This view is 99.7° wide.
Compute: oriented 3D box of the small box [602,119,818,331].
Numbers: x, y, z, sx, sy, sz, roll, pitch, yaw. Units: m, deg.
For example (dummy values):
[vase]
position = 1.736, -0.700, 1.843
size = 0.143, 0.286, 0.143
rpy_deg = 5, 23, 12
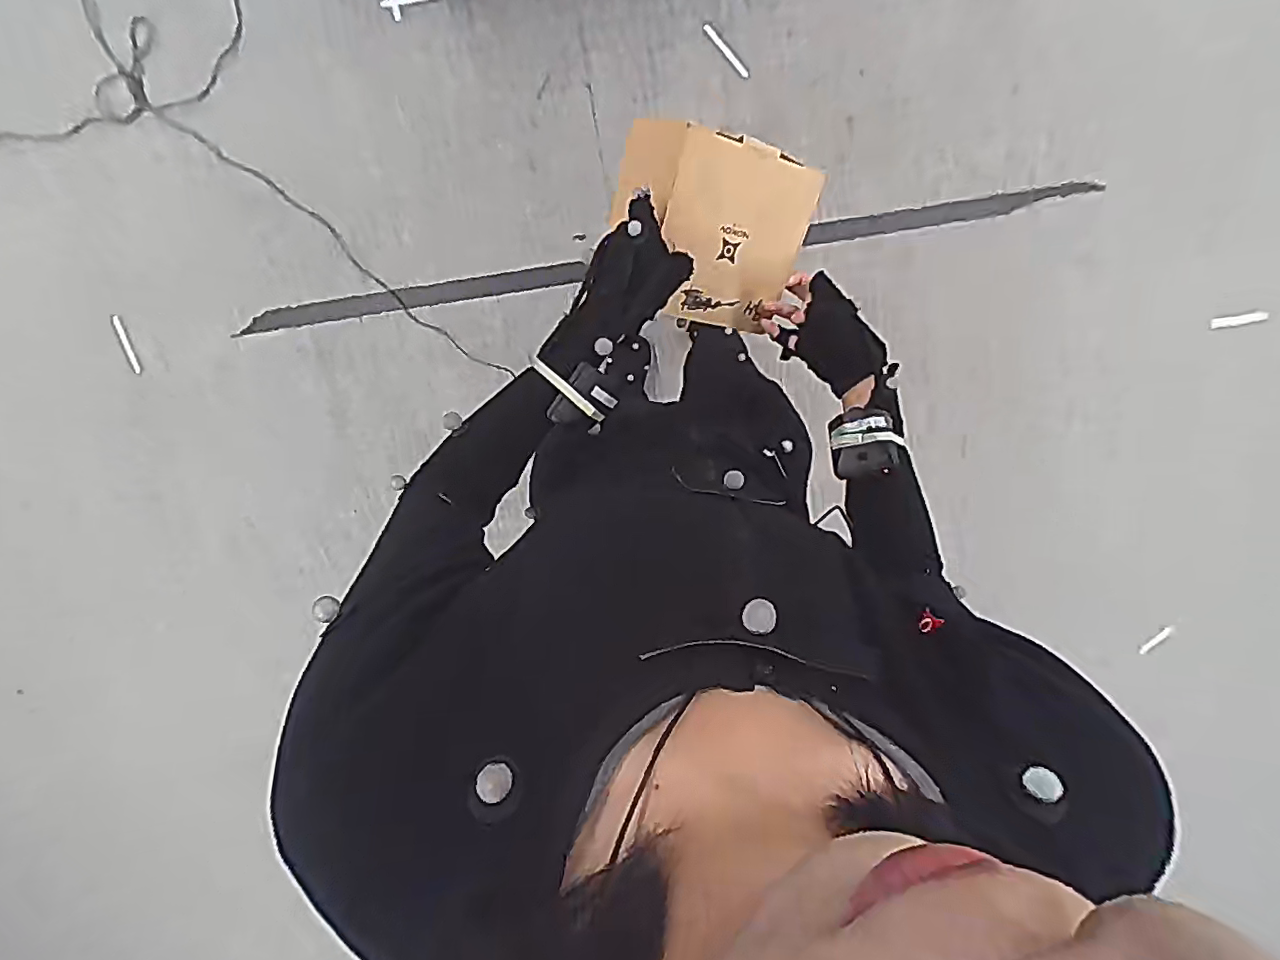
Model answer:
[small box]
position = 0.065, -0.295, 0.630
size = 0.168, 0.176, 0.179
rpy_deg = 3, 120, -24
